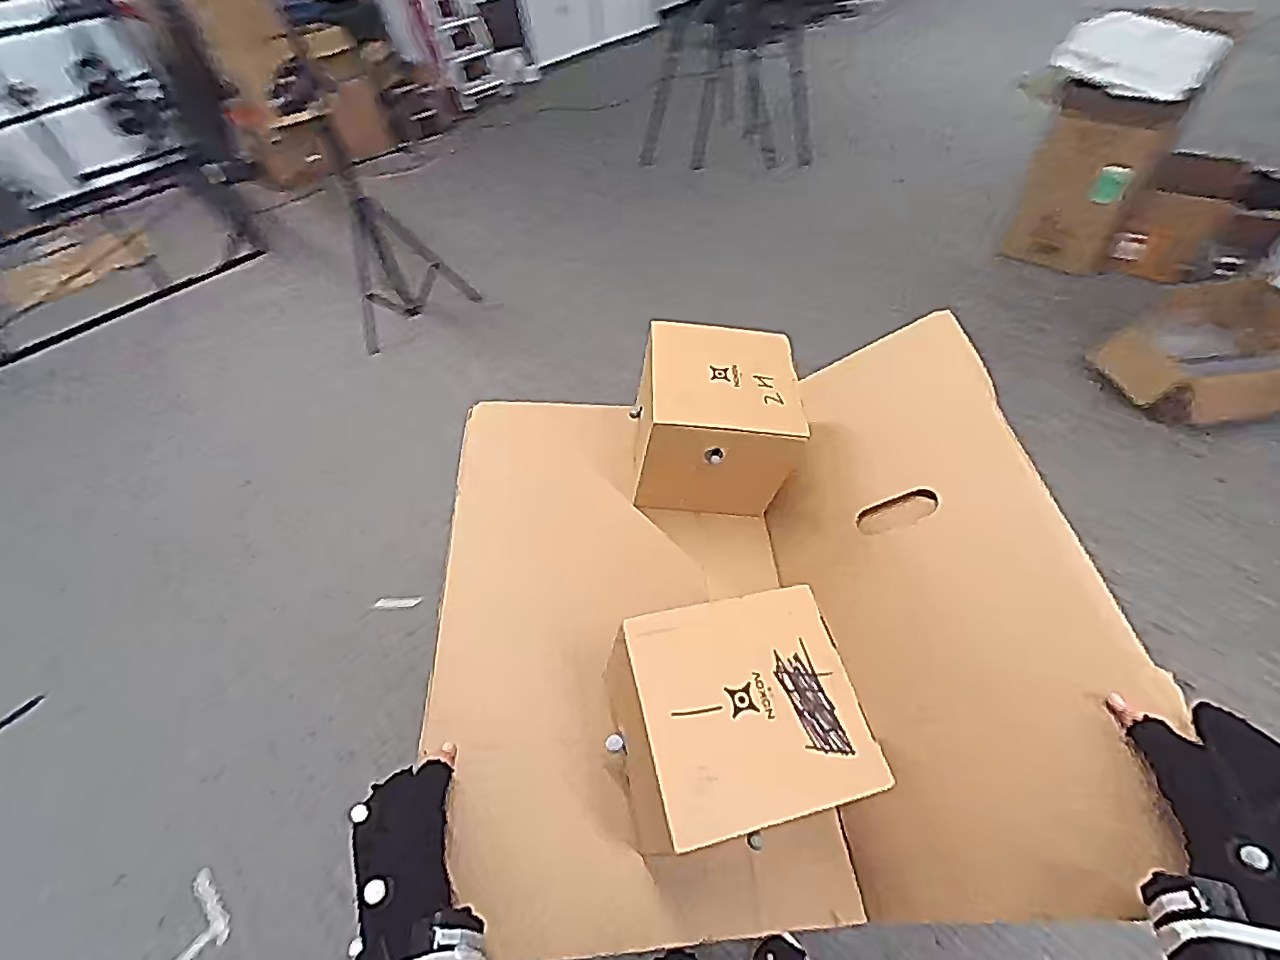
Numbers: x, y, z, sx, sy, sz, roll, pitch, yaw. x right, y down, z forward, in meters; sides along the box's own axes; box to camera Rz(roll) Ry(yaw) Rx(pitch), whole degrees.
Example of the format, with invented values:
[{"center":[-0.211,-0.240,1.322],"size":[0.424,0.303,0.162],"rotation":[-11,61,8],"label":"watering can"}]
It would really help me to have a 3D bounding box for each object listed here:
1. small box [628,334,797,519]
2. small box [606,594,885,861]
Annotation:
[{"center":[0.078,-0.062,0.695],"size":[0.179,0.176,0.168],"rotation":[4,55,-7],"label":"small box"},{"center":[0.074,0.225,0.494],"size":[0.179,0.176,0.168],"rotation":[-9,57,-14],"label":"small box"}]
